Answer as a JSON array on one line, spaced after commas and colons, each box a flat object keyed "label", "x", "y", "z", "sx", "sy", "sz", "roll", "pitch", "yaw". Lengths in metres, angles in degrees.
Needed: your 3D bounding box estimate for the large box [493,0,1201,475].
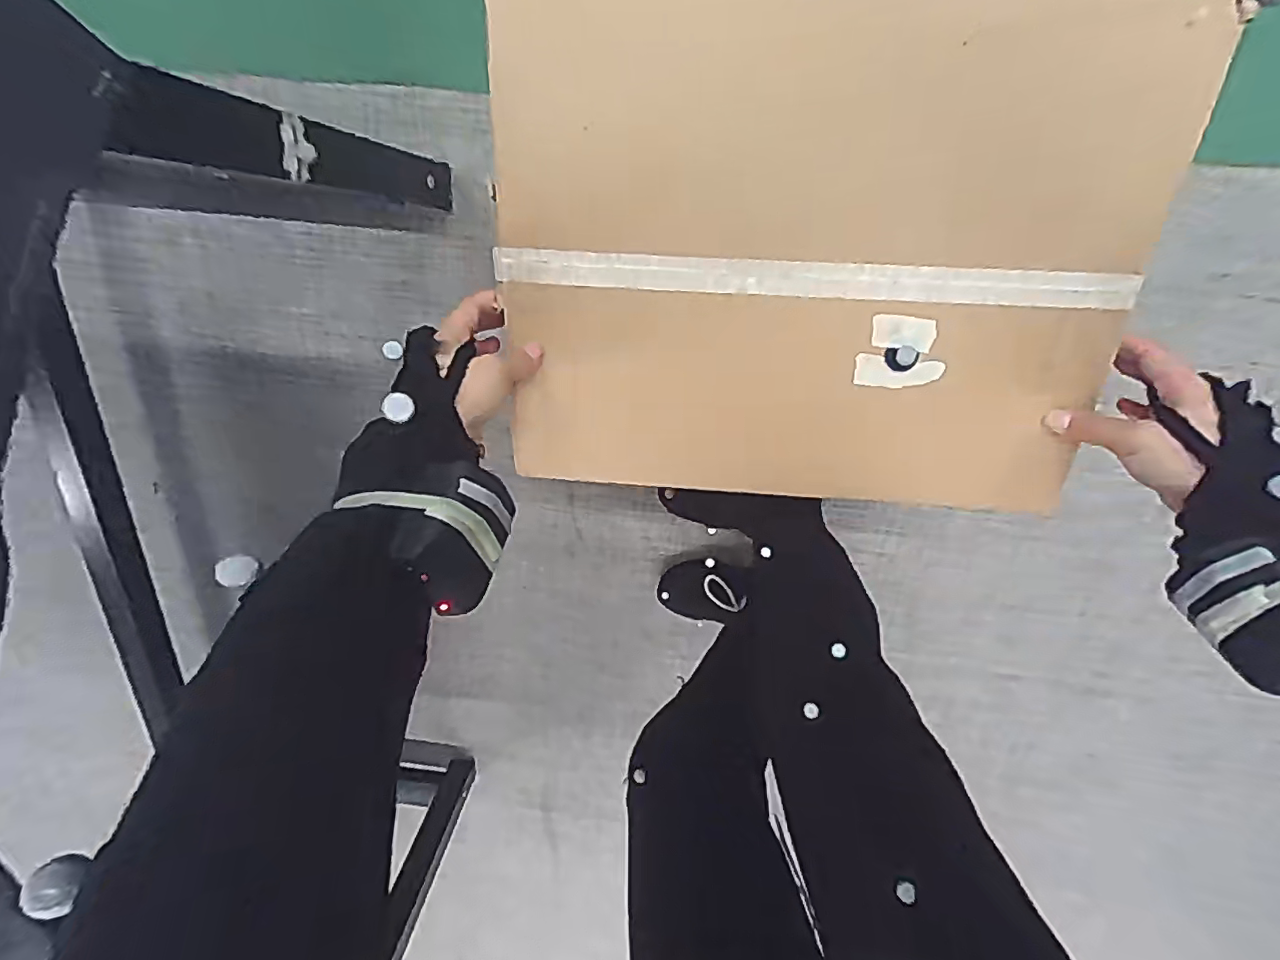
[{"label": "large box", "x": 0.117, "y": -0.209, "z": 0.499, "sx": 0.408, "sy": 0.320, "sz": 0.320, "roll": 3, "pitch": 116, "yaw": 2}]
